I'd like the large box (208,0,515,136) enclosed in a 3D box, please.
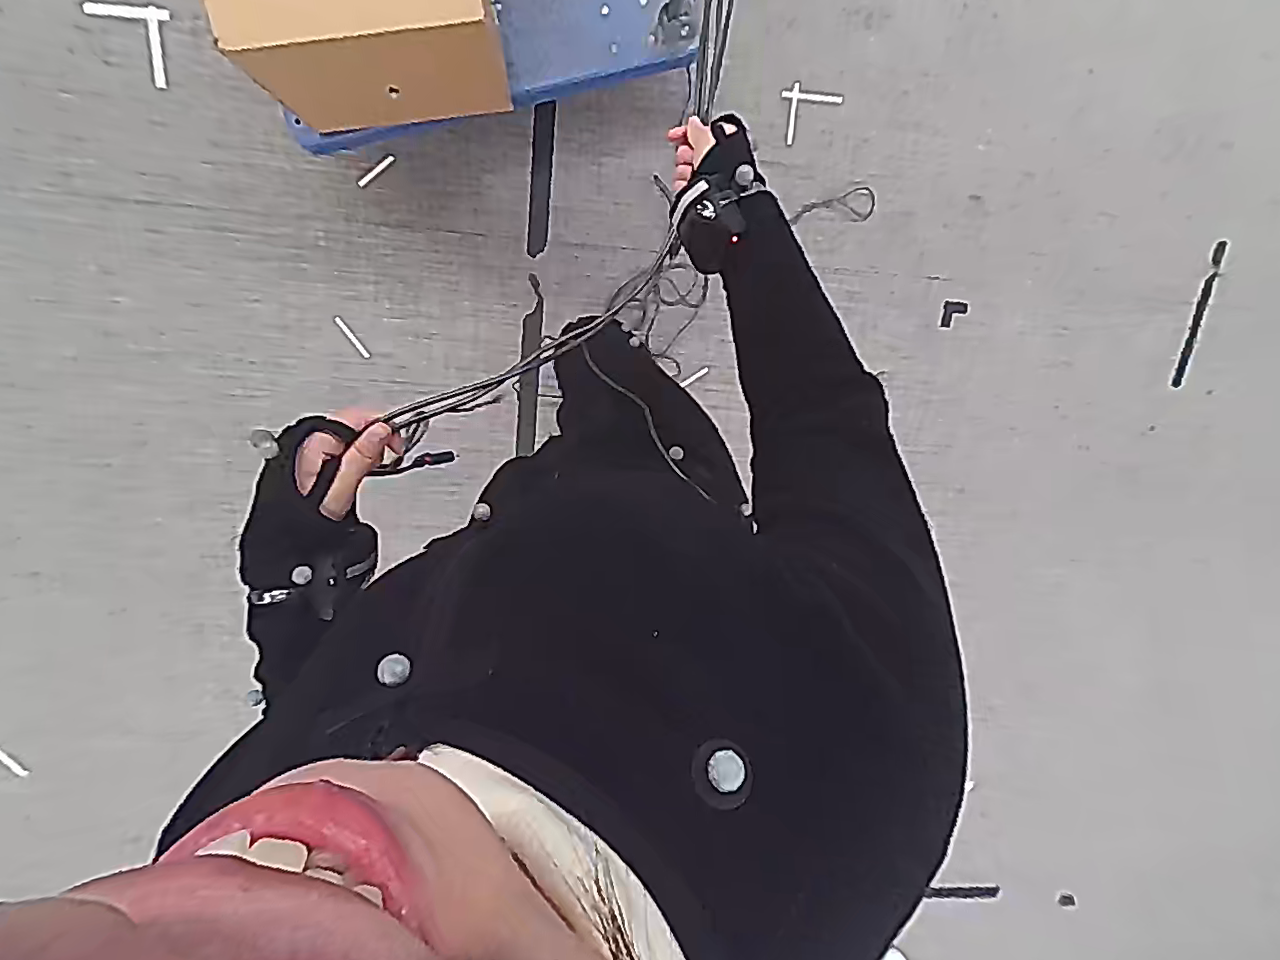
[{"bbox_3d":[-0.464,-0.846,0.933,0.408,0.320,0.320,-9,102,-2],"label":"large box"}]
